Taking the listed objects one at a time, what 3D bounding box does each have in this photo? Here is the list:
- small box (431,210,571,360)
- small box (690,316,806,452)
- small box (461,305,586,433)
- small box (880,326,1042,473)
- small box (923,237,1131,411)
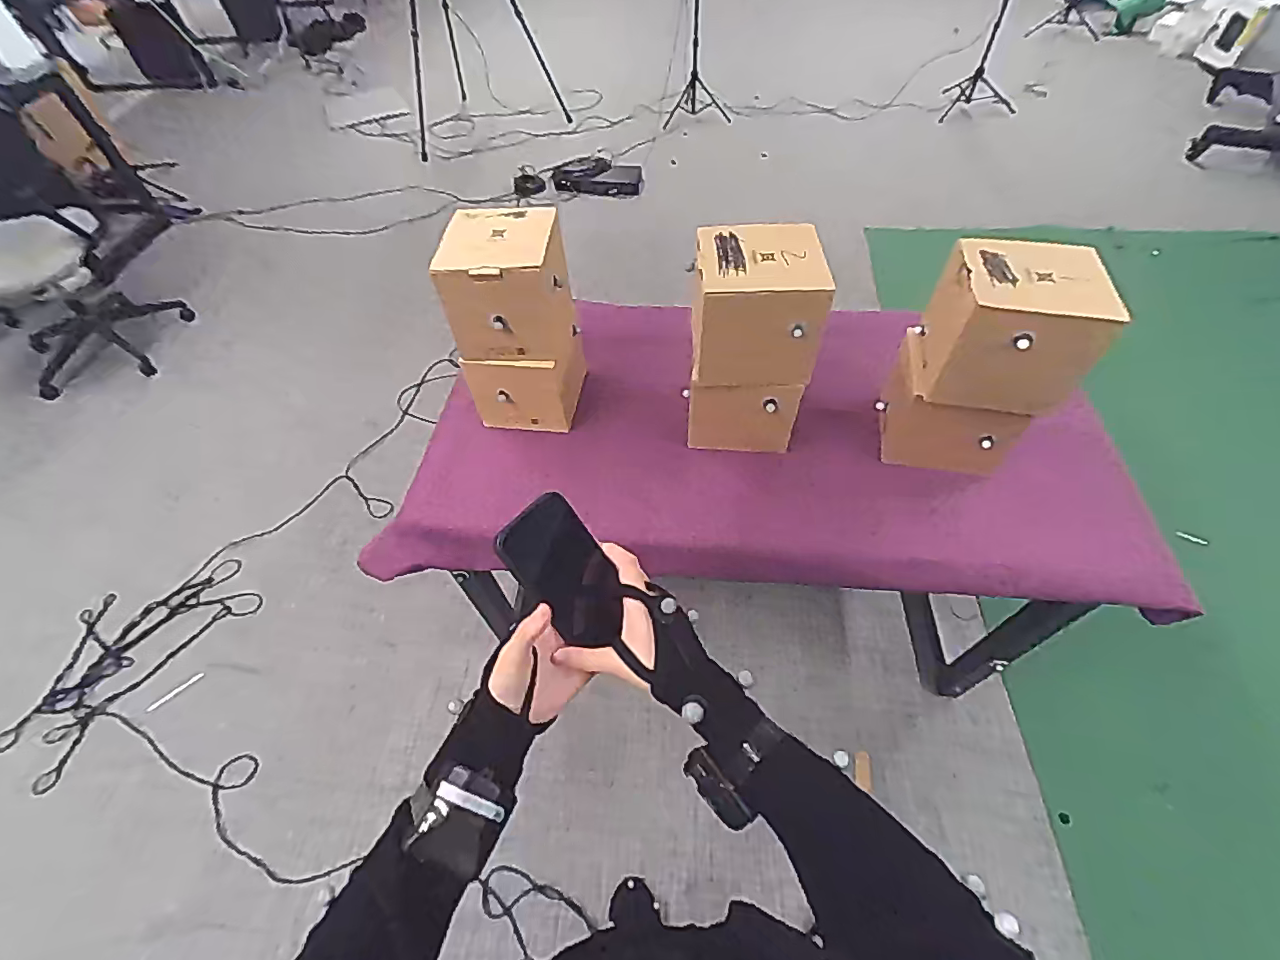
[{"bbox_3d":[-0.210,-0.311,0.876,0.168,0.176,0.179,0,53,3],"label":"small box"},{"bbox_3d":[0.182,-0.164,0.945,0.179,0.176,0.168,4,53,7],"label":"small box"},{"bbox_3d":[-0.203,-0.205,1.002,0.168,0.176,0.179,4,53,7],"label":"small box"},{"bbox_3d":[0.518,-0.130,0.899,0.179,0.176,0.168,9,53,10],"label":"small box"},{"bbox_3d":[0.516,-0.216,0.759,0.179,0.176,0.168,9,53,9],"label":"small box"}]
